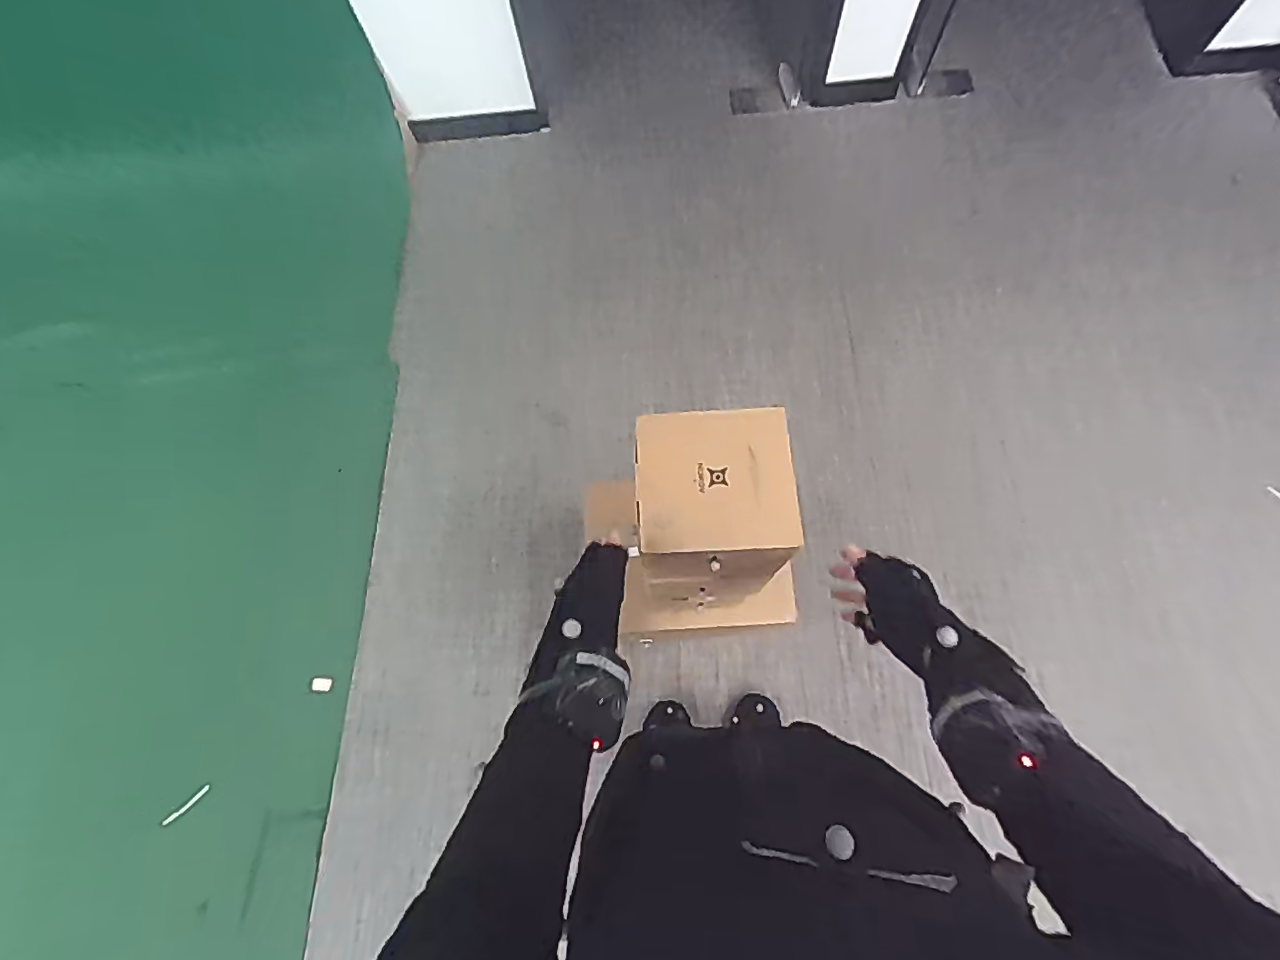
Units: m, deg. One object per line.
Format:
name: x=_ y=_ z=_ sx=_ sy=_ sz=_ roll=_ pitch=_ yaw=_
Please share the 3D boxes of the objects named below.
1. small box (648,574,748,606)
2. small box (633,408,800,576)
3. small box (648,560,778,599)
small box: x=0.099 y=0.133 z=0.982 sx=0.168 sy=0.176 sz=0.179 roll=-5 pitch=71 yaw=3
small box: x=0.086 y=0.024 z=0.675 sx=0.179 sy=0.176 sz=0.168 roll=-3 pitch=72 yaw=2
small box: x=0.096 y=0.084 z=0.824 sx=0.179 sy=0.176 sz=0.168 roll=-6 pitch=70 yaw=1
